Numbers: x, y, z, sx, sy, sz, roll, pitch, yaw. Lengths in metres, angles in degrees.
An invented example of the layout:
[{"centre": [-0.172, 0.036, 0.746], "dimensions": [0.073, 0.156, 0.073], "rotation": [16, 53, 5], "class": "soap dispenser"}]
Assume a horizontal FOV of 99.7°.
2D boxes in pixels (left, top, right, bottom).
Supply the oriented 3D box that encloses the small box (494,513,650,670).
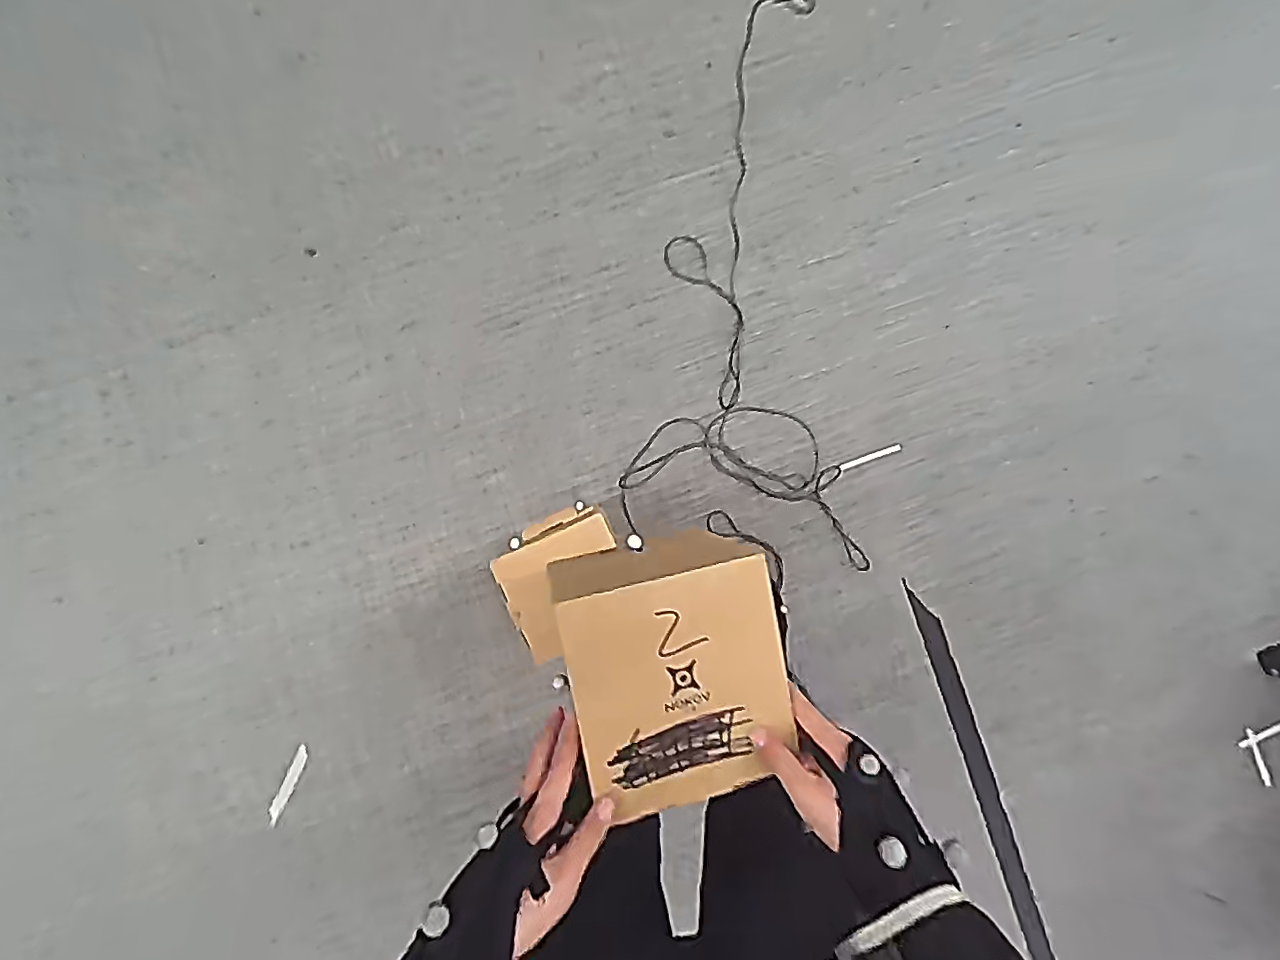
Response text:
[{"centre": [-0.101, 0.160, 0.845], "dimensions": [0.179, 0.176, 0.168], "rotation": [-25, 91, -2], "class": "small box"}]
